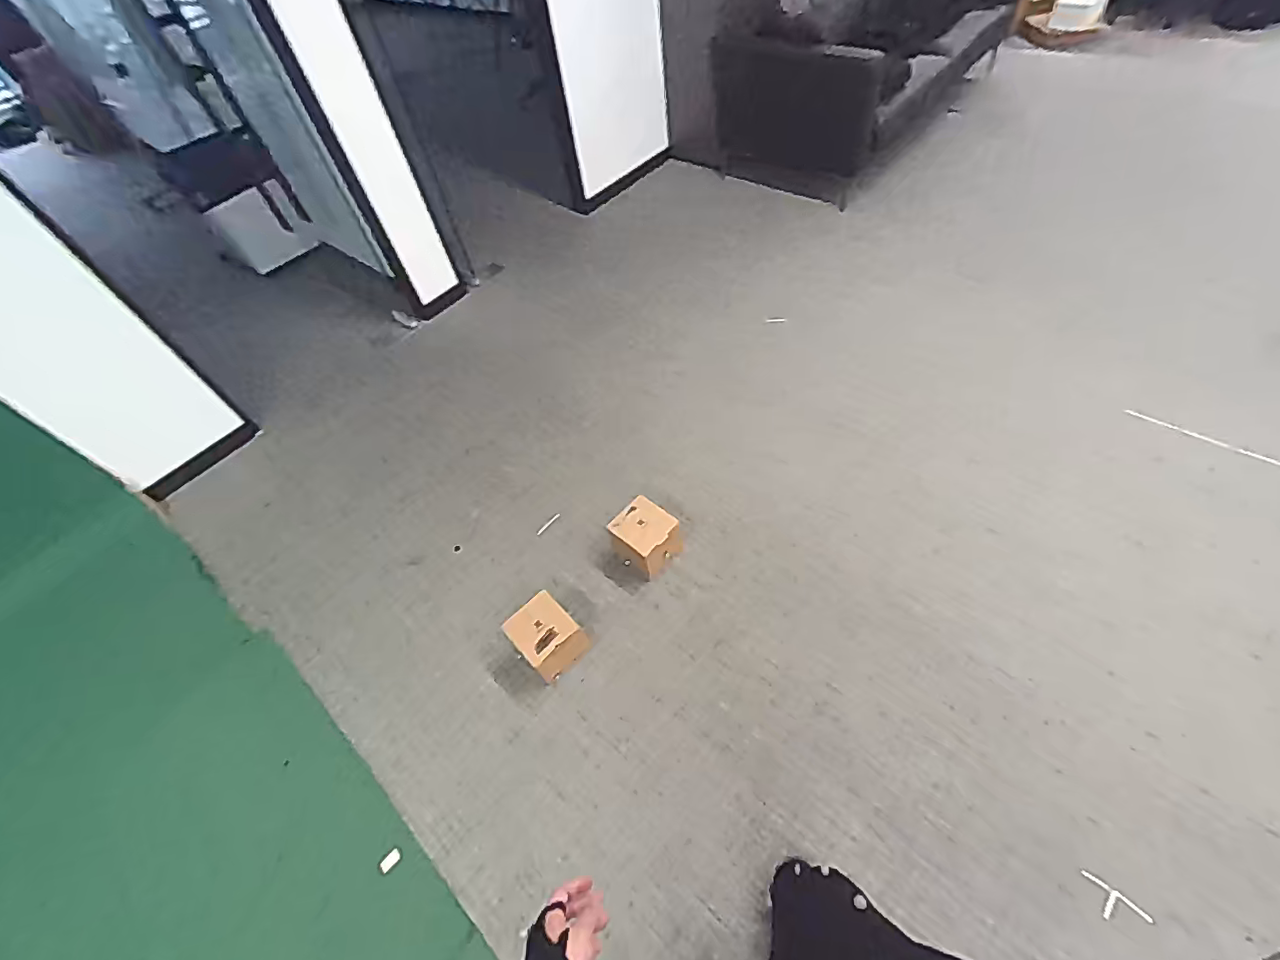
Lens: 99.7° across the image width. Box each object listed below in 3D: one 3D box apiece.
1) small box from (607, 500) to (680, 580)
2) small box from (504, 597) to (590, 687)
[{"bbox_3d":[0.019,0.205,1.775,0.179,0.176,0.168,35,65,28],"label":"small box"},{"bbox_3d":[-0.271,0.493,1.620,0.168,0.176,0.179,-39,57,-21],"label":"small box"}]
